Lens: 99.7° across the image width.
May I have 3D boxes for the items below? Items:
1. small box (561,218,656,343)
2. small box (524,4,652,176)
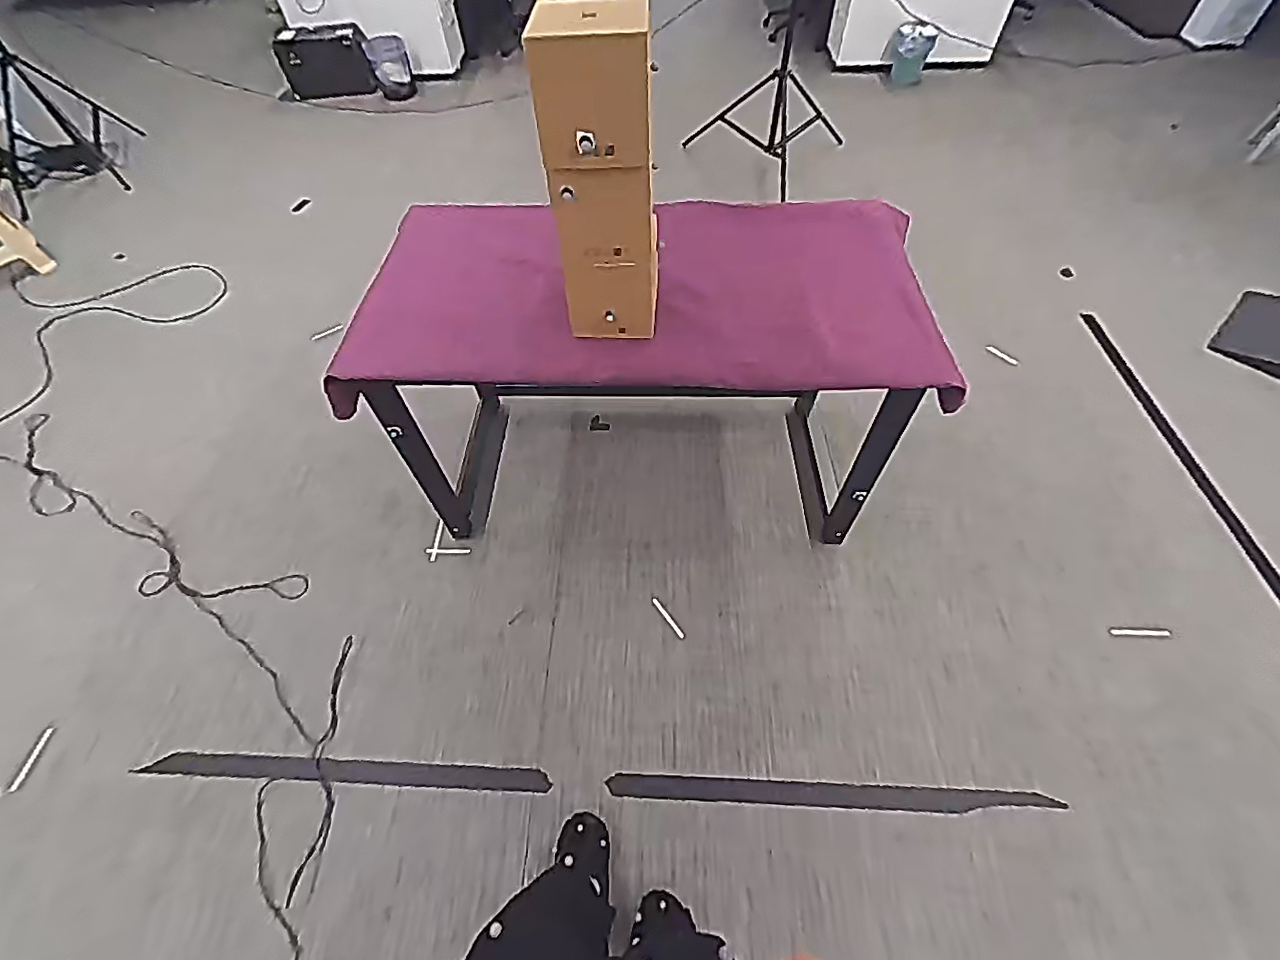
[{"bbox_3d":[-0.054,-0.399,1.084,0.168,0.176,0.179,2,54,4],"label":"small box"},{"bbox_3d":[-0.068,-0.583,0.814,0.168,0.176,0.179,-2,54,2],"label":"small box"}]
